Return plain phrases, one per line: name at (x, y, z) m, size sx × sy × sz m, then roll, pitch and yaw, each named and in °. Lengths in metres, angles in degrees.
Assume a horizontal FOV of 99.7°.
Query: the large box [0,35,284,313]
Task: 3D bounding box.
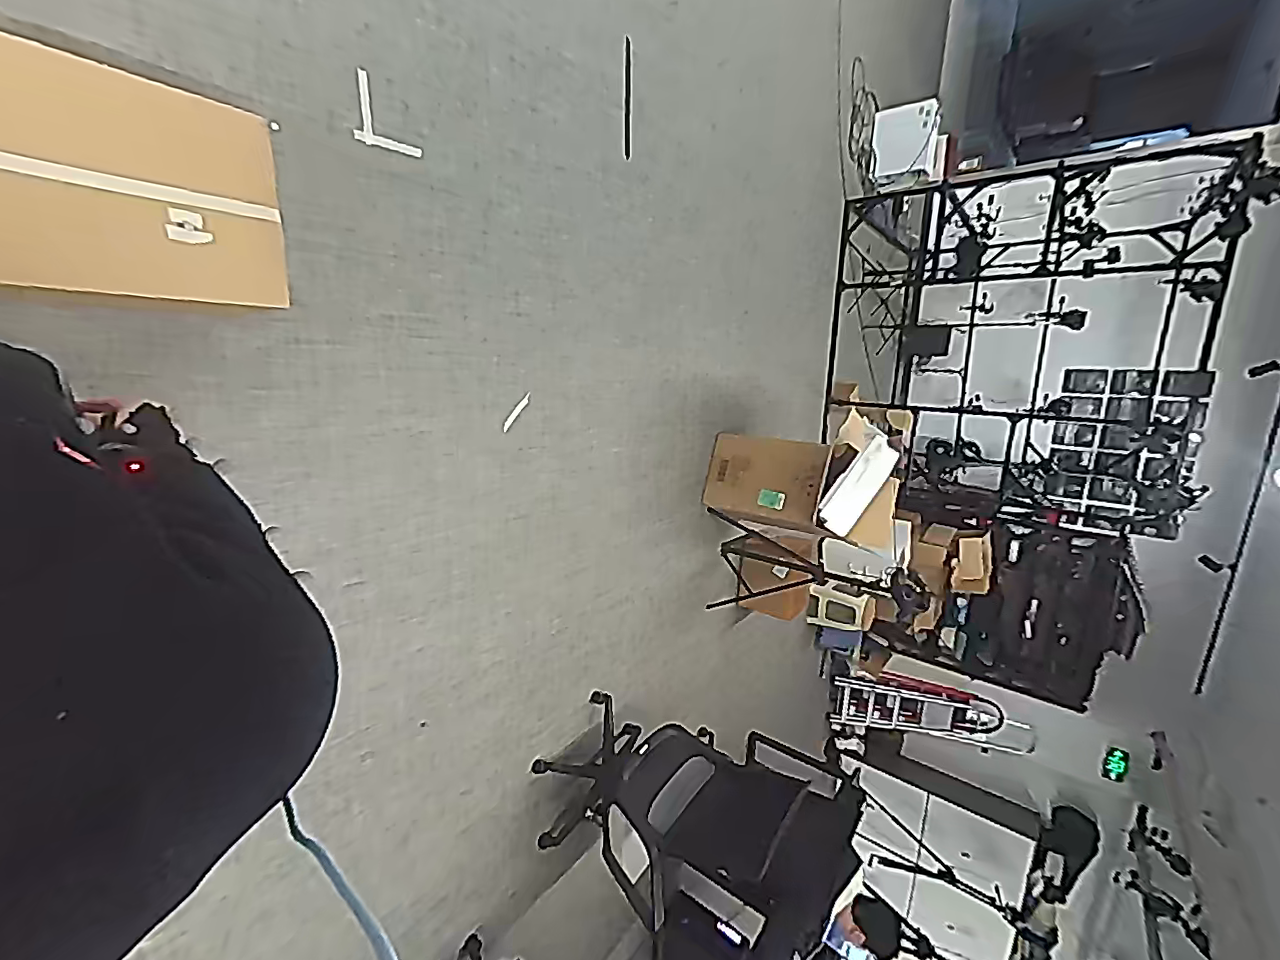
large box at (-0.881, -0.450, 0.877) m, size 0.408 × 0.320 × 0.320 m, roll -15°, pitch 111°, yaw -52°
